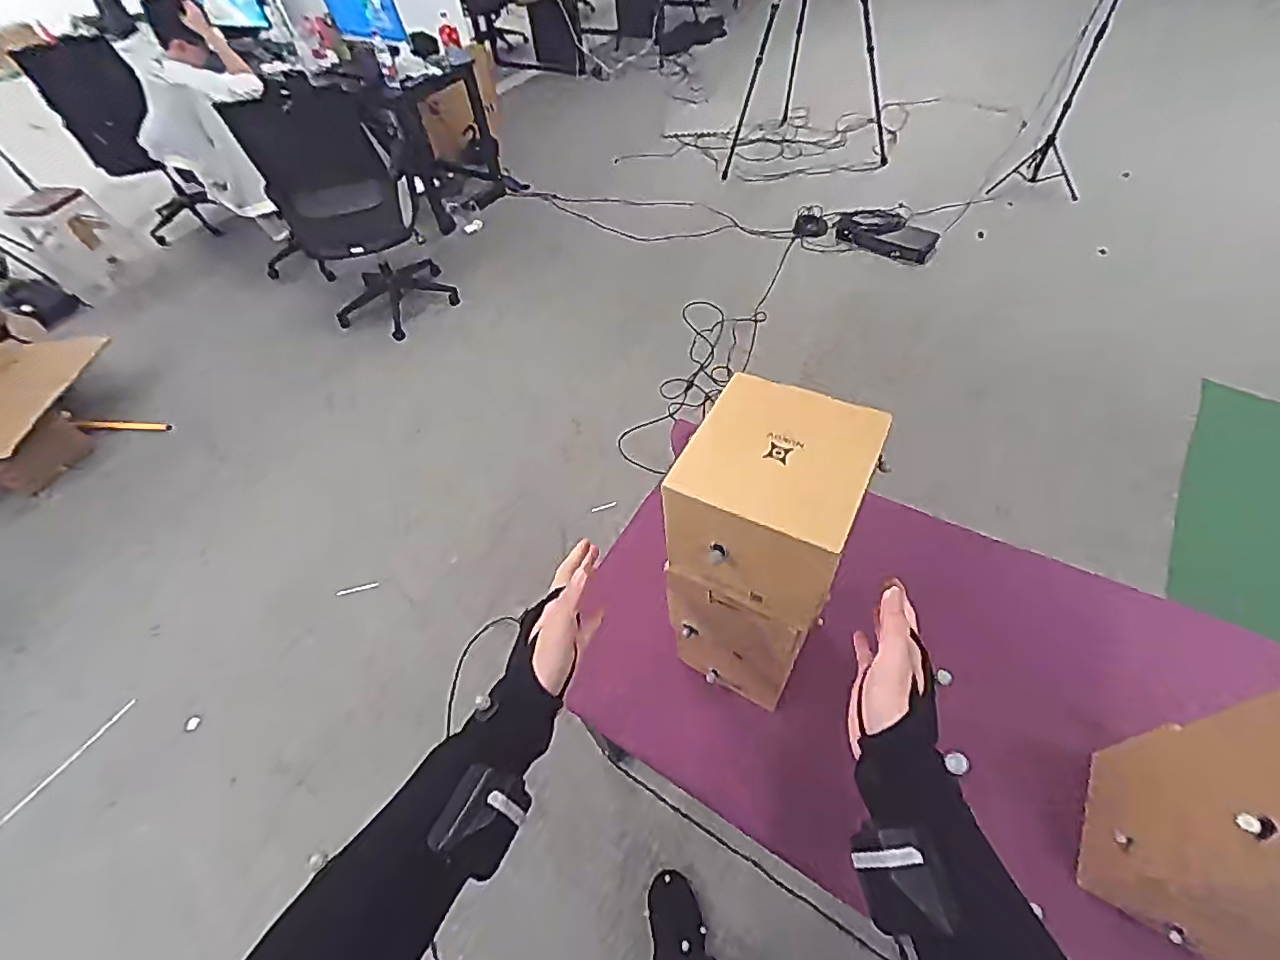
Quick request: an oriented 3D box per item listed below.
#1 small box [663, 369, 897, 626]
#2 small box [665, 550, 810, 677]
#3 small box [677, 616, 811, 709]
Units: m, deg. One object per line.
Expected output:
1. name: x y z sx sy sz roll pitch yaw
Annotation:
1. small box: 0.139 0.021 0.558 0.168 0.176 0.179 22 56 21
2. small box: 0.148 0.118 0.687 0.168 0.176 0.179 24 57 22
3. small box: 0.166 0.212 0.820 0.168 0.176 0.179 24 58 22
